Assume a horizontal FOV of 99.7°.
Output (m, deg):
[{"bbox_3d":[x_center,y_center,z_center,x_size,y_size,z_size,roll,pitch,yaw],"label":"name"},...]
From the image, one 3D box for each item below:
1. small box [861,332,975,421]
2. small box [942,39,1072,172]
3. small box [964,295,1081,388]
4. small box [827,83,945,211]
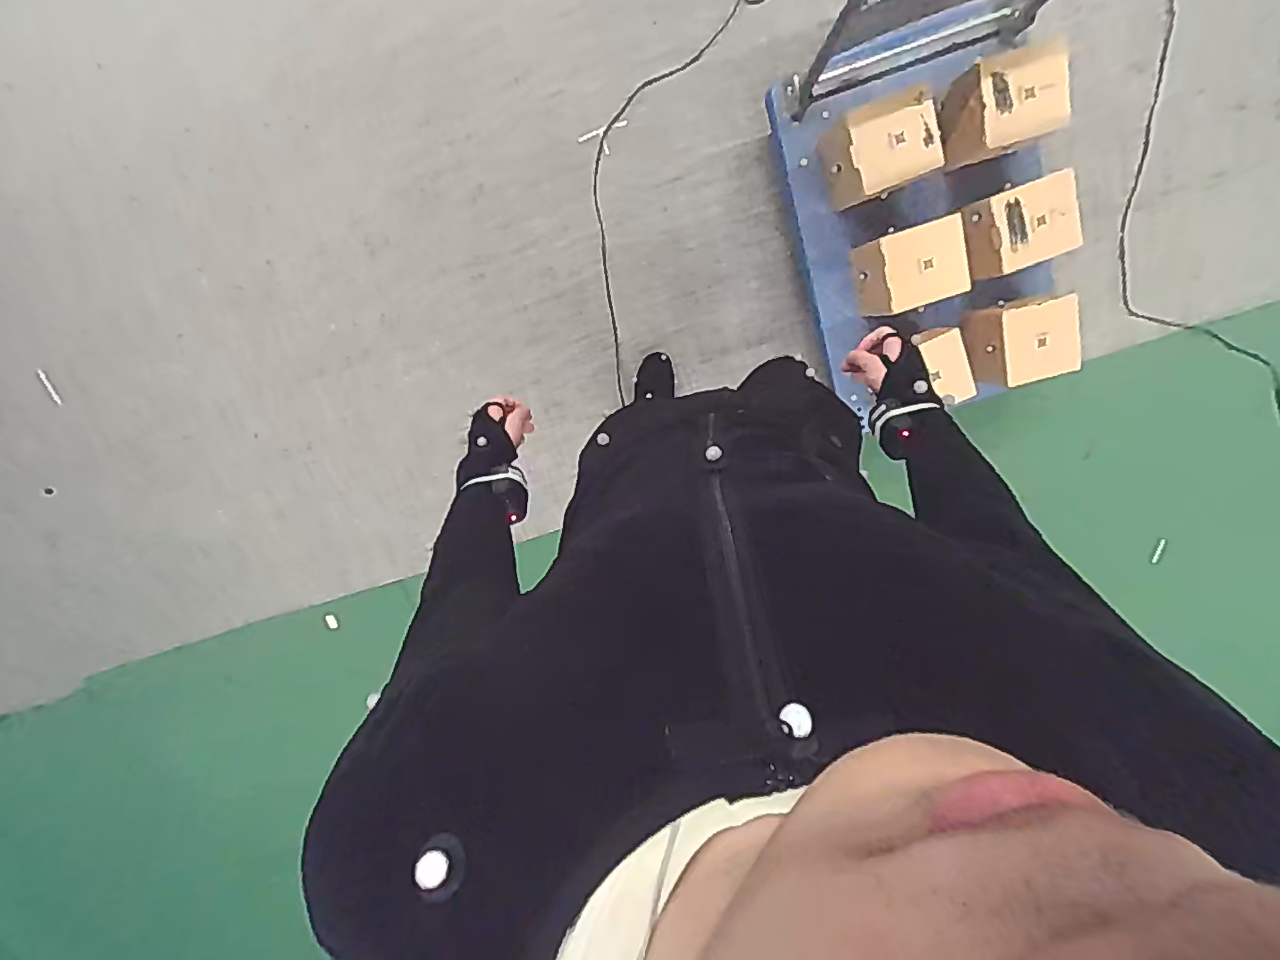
[{"bbox_3d":[0.664,-0.253,1.307,0.179,0.176,0.168,-17,102,5],"label":"small box"},{"bbox_3d":[0.775,-0.790,1.161,0.179,0.176,0.168,-15,106,3],"label":"small box"},{"bbox_3d":[0.905,-0.329,1.292,0.168,0.176,0.179,-14,105,4],"label":"small box"},{"bbox_3d":[0.524,-0.712,1.181,0.179,0.176,0.168,-19,105,5],"label":"small box"}]
